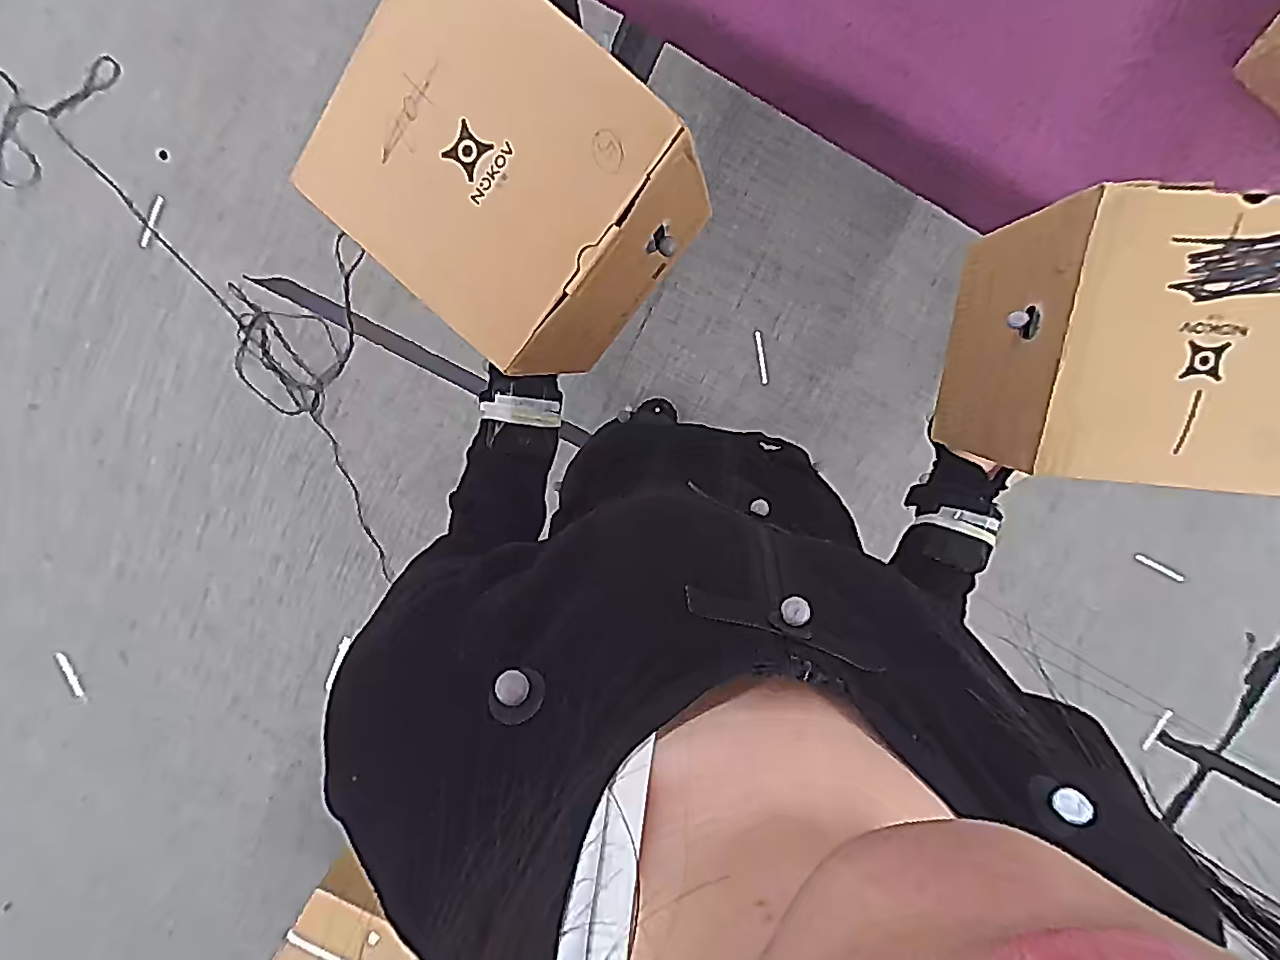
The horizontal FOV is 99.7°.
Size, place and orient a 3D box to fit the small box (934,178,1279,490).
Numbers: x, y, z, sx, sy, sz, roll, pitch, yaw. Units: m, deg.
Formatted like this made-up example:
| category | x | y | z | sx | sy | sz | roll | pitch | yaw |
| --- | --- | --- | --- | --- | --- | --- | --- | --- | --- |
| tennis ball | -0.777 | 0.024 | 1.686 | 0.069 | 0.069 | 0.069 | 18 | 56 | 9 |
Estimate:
| category | x | y | z | sx | sy | sz | roll | pitch | yaw |
| --- | --- | --- | --- | --- | --- | --- | --- | --- | --- |
| small box | 0.349 | -0.102 | 0.407 | 0.168 | 0.176 | 0.179 | 6 | 103 | 6 |

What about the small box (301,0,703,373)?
| category | x | y | z | sx | sy | sz | roll | pitch | yaw |
| --- | --- | --- | --- | --- | --- | --- | --- | --- | --- |
| small box | -0.073 | -0.195 | 0.377 | 0.179 | 0.176 | 0.168 | 41 | 106 | 1 |
